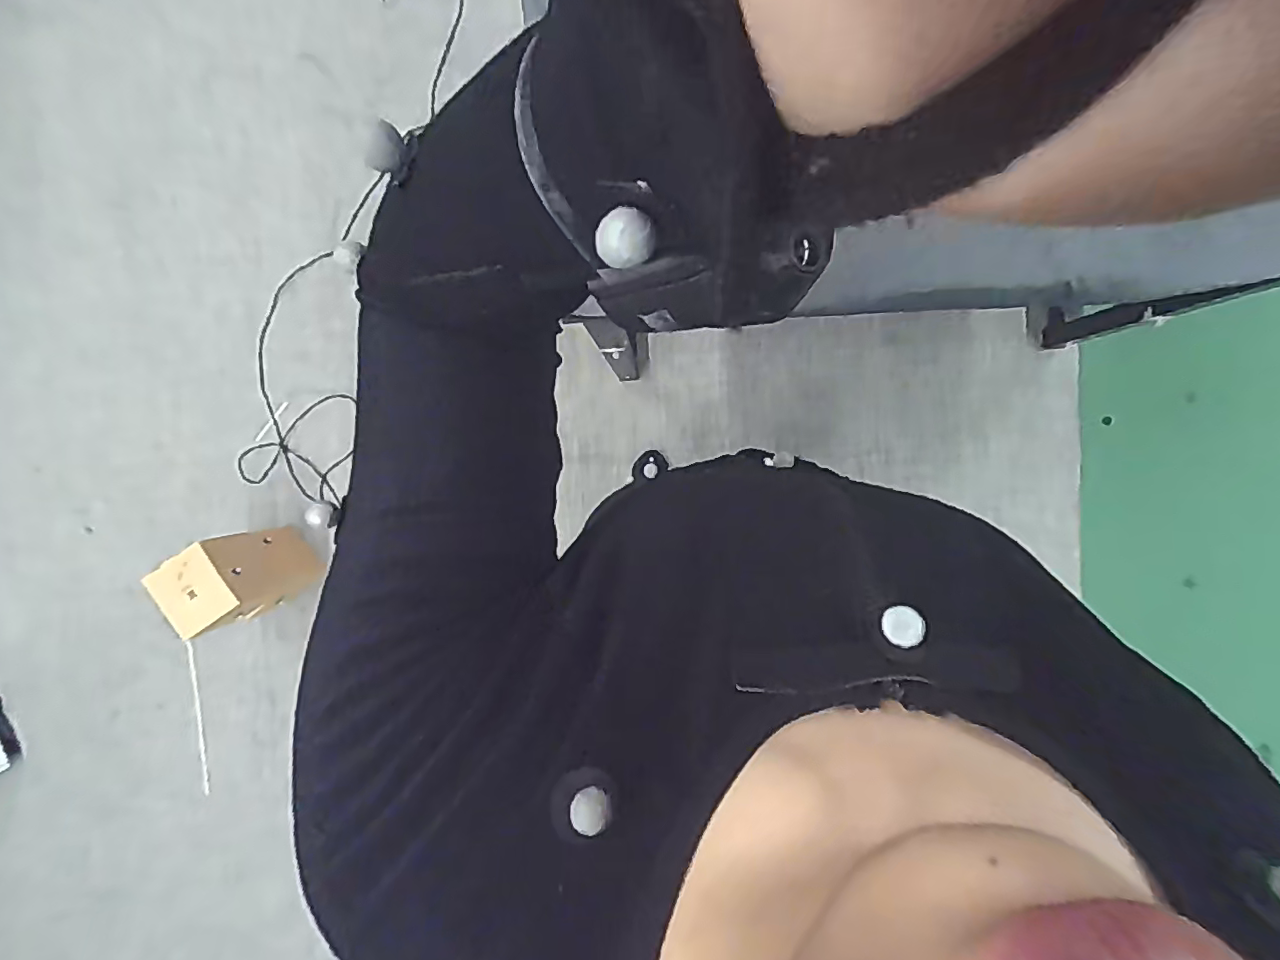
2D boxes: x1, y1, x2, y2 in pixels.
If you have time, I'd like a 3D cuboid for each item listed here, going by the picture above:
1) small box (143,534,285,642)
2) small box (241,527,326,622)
[{"bbox_3d":[-1.012,0.251,1.303,0.168,0.176,0.179,-33,91,3],"label":"small box"},{"bbox_3d":[-1.006,0.247,1.468,0.168,0.176,0.179,-39,90,4],"label":"small box"}]
